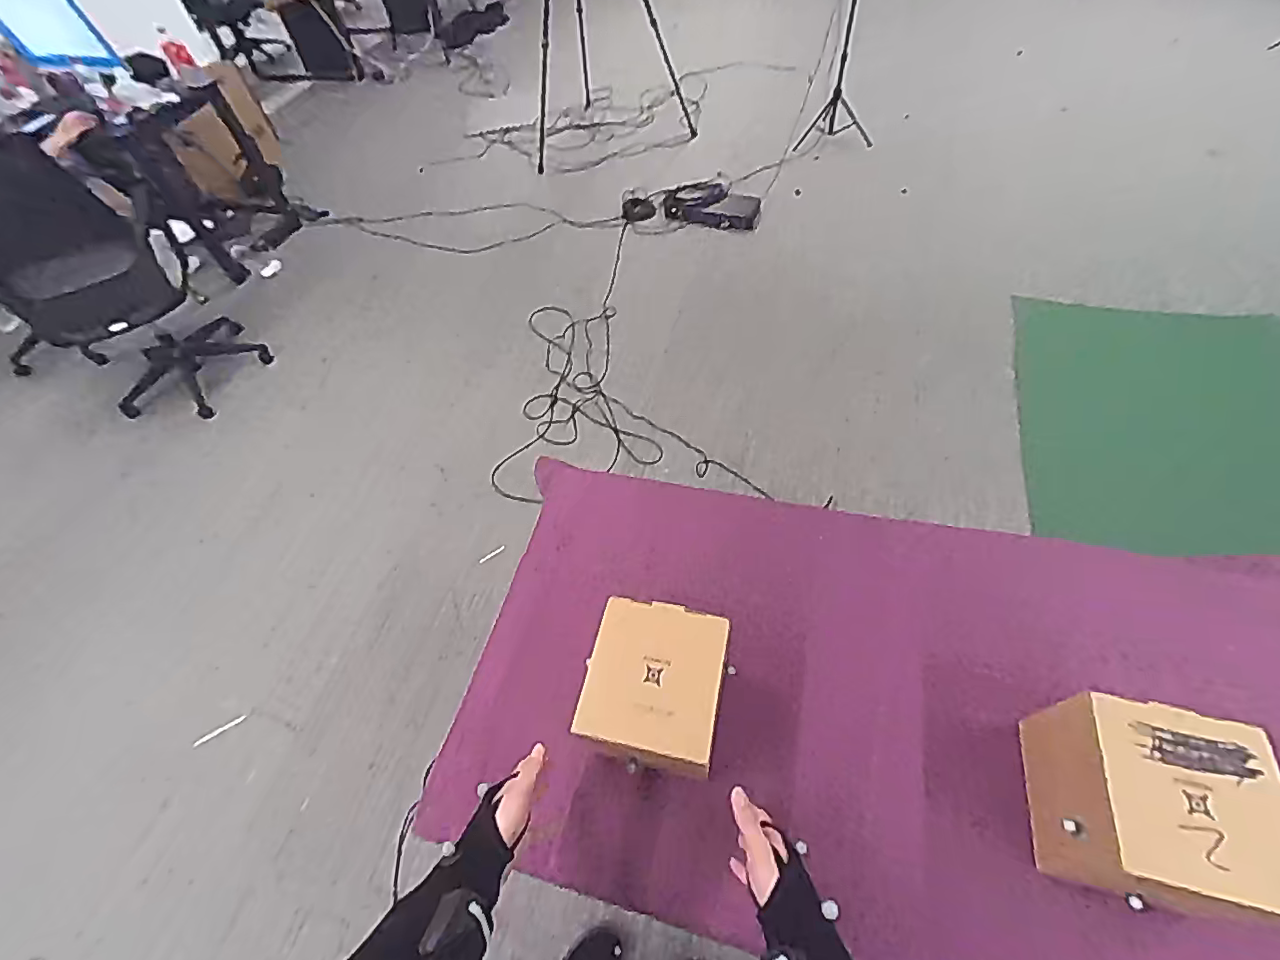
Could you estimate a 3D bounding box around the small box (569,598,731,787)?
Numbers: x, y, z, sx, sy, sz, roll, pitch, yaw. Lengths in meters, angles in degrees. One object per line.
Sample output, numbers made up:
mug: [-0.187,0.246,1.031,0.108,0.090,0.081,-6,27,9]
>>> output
small box: [0.021,0.284,0.719,0.168,0.176,0.179,9,56,12]
